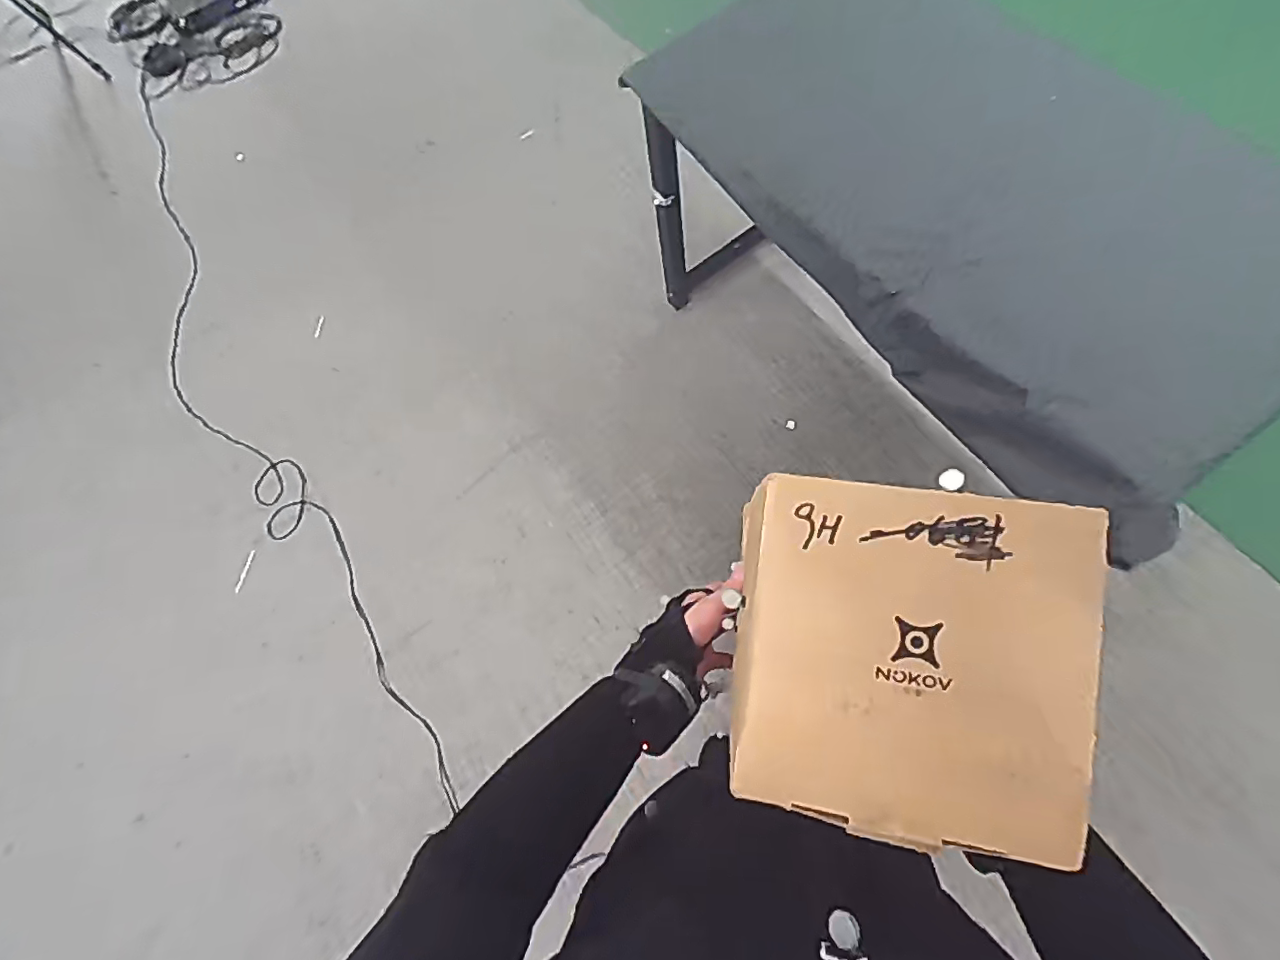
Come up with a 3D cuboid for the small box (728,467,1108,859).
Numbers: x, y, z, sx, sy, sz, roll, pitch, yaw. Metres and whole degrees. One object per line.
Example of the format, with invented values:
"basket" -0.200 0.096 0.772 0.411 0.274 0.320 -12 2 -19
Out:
"small box" 0.152 0.091 0.354 0.168 0.176 0.179 6 88 11
